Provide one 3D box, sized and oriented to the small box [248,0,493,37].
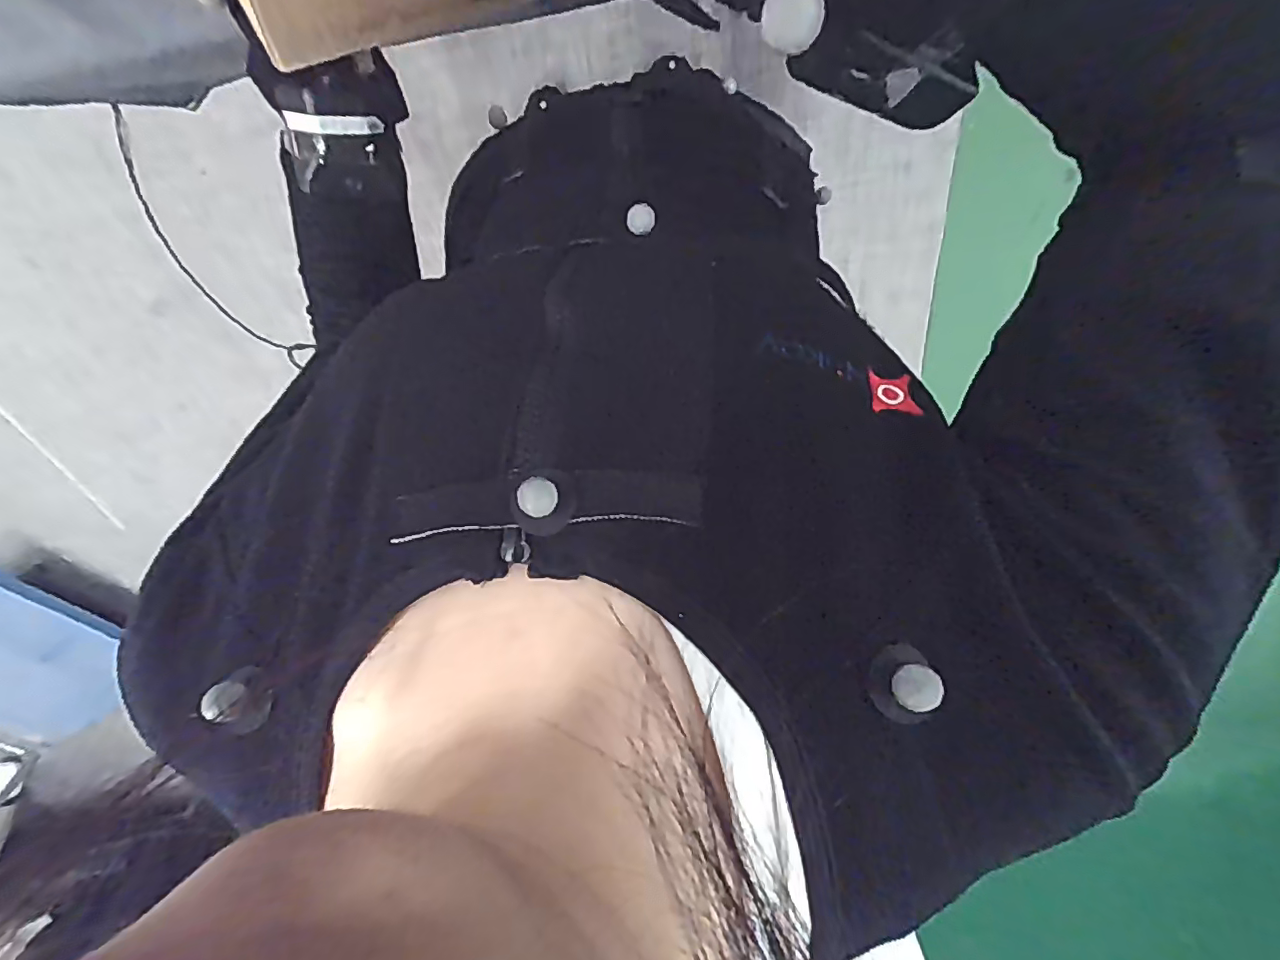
[{"bbox_3d":[-0.104,-0.293,0.184,0.168,0.176,0.179,-30,116,-17],"label":"small box"}]
